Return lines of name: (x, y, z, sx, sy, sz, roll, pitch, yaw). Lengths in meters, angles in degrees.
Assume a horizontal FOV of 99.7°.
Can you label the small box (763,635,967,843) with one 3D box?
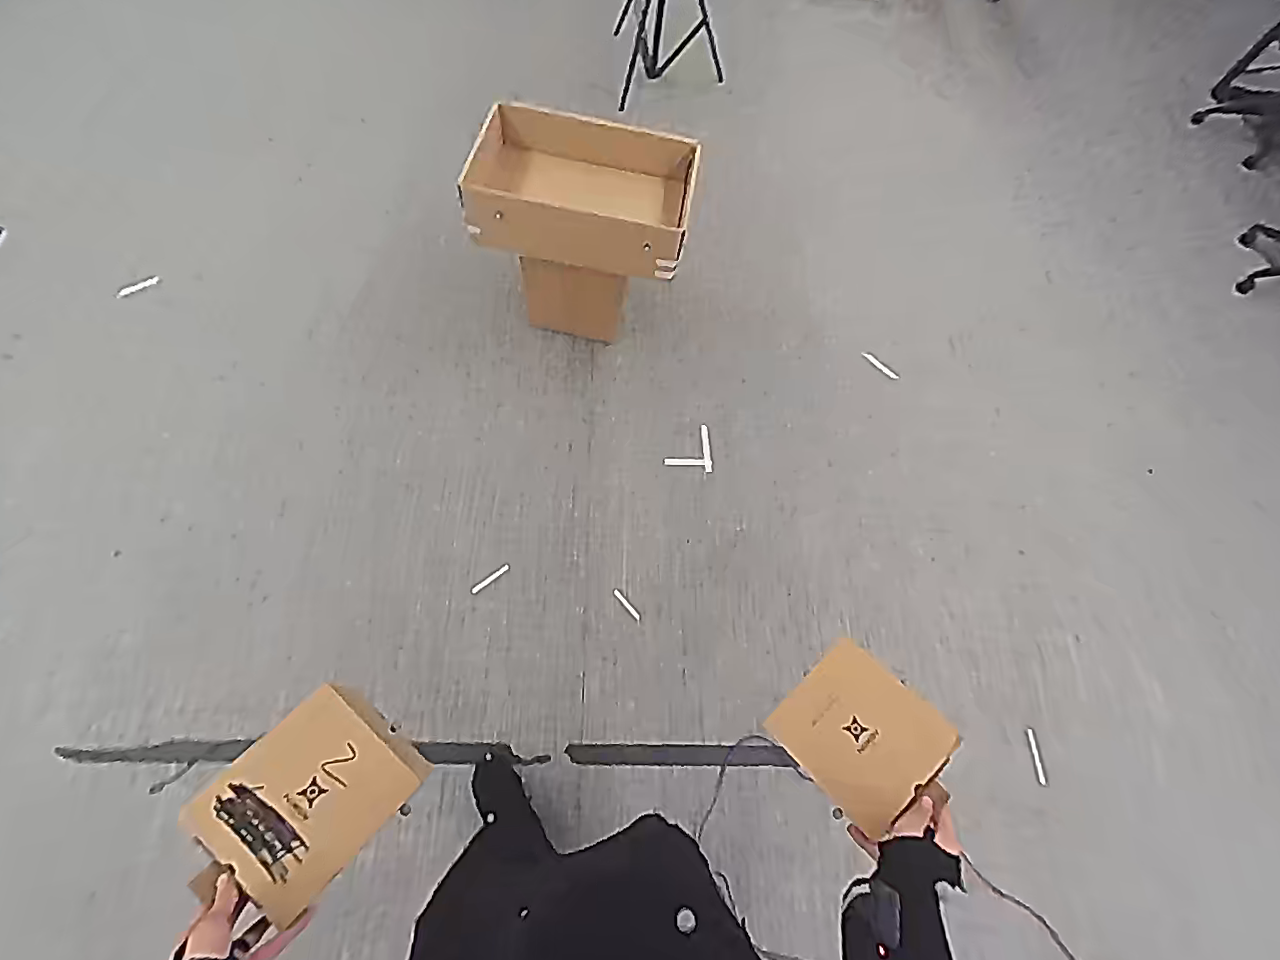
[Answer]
small box: (0.293, 0.341, 0.730, 0.168, 0.176, 0.179, -43, 59, -6)
